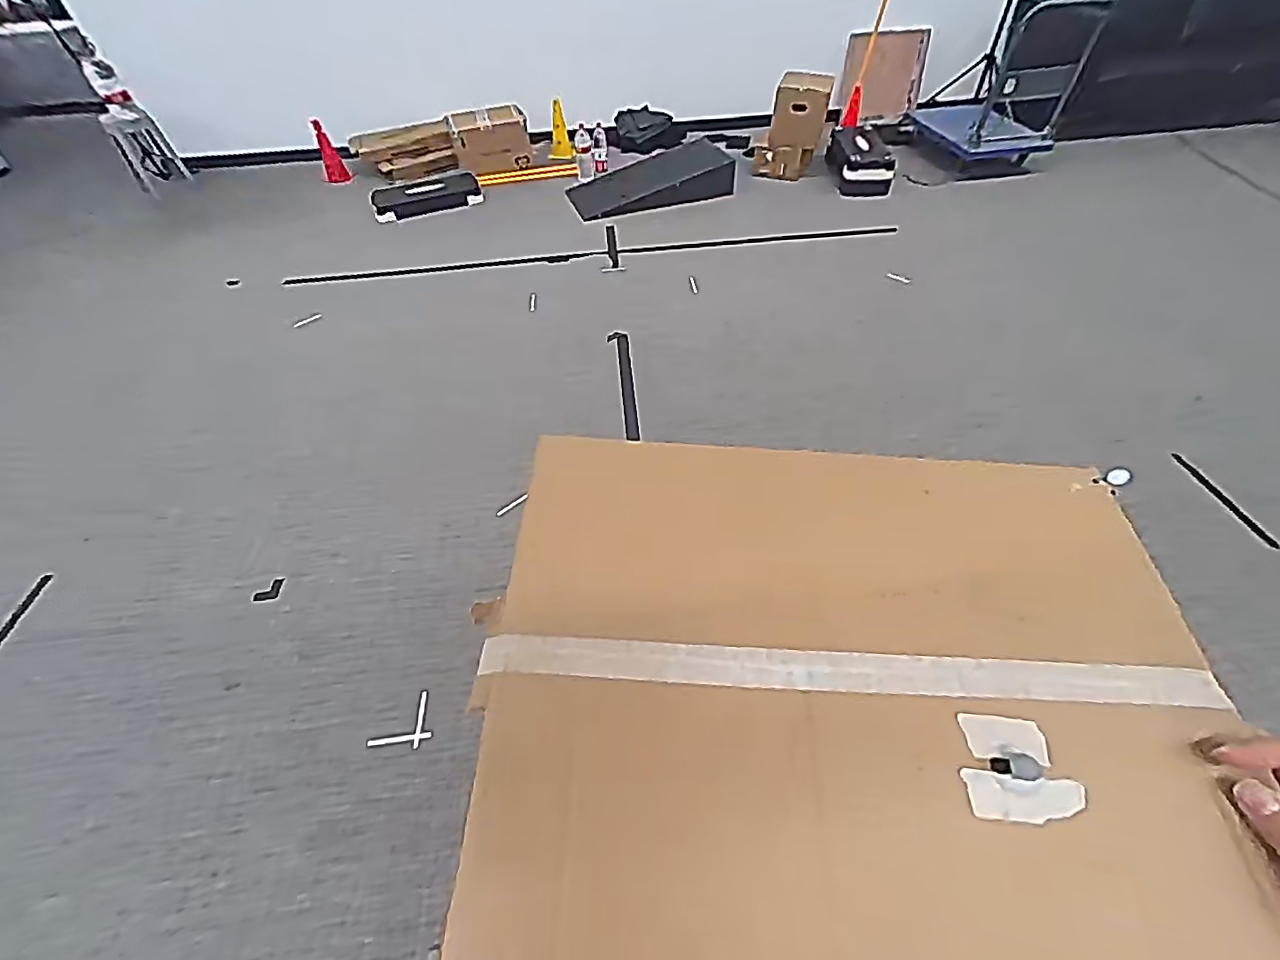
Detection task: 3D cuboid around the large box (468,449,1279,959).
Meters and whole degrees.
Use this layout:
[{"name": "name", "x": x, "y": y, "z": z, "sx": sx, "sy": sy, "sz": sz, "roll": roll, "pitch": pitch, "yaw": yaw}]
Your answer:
[{"name": "large box", "x": 0.115, "y": 0.198, "z": 0.432, "sx": 0.408, "sy": 0.320, "sz": 0.320, "roll": 4, "pitch": 55, "yaw": -2}]
